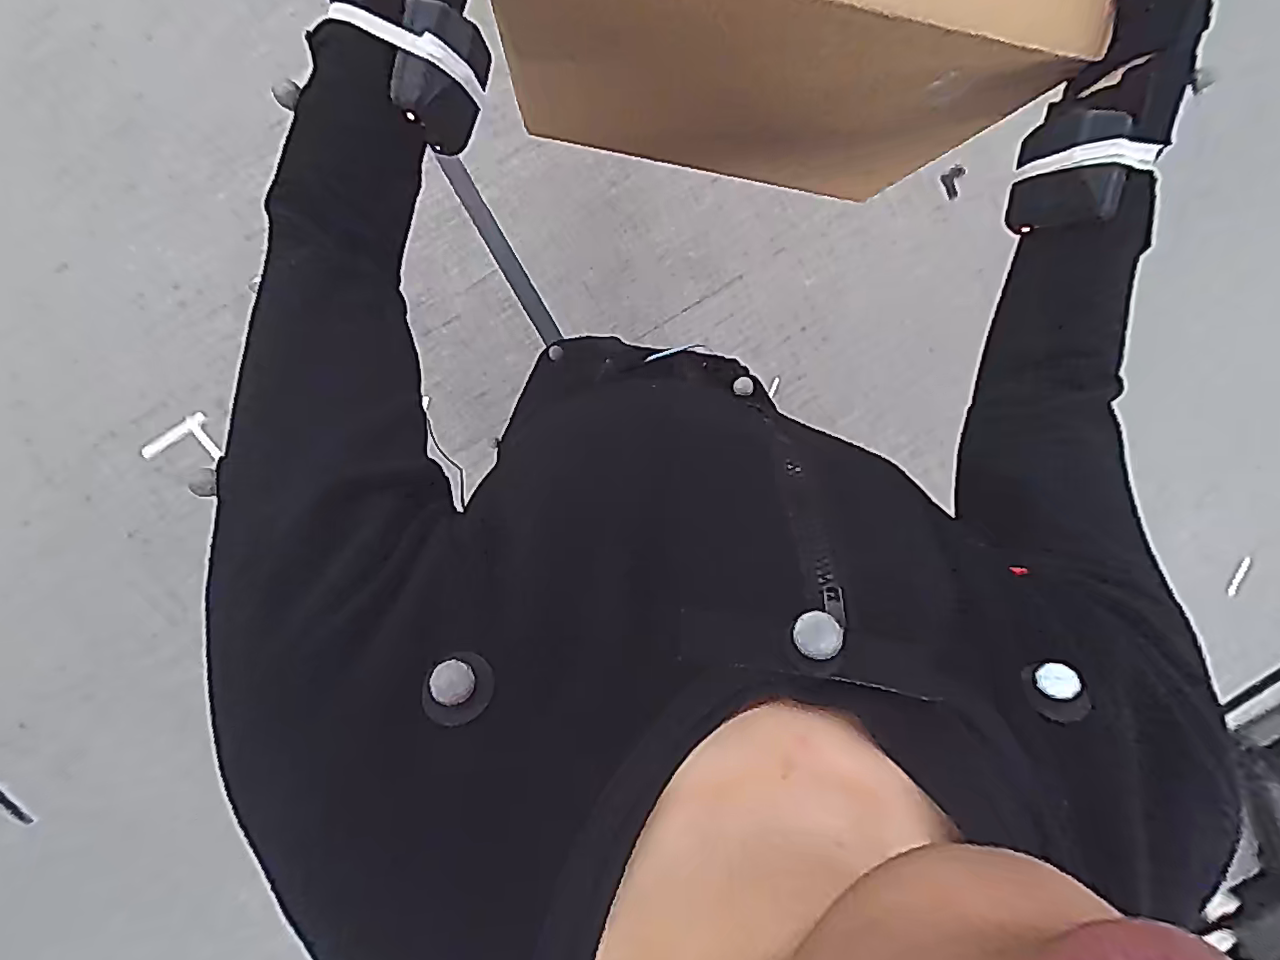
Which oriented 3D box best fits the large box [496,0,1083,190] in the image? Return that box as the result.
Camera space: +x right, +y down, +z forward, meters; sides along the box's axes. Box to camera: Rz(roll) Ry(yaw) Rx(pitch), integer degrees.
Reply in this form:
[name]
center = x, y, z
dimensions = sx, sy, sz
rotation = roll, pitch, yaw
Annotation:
[large box]
center = 0.098, -0.484, 0.458
dimensions = 0.408, 0.320, 0.320
rotation = 6, 102, -8
